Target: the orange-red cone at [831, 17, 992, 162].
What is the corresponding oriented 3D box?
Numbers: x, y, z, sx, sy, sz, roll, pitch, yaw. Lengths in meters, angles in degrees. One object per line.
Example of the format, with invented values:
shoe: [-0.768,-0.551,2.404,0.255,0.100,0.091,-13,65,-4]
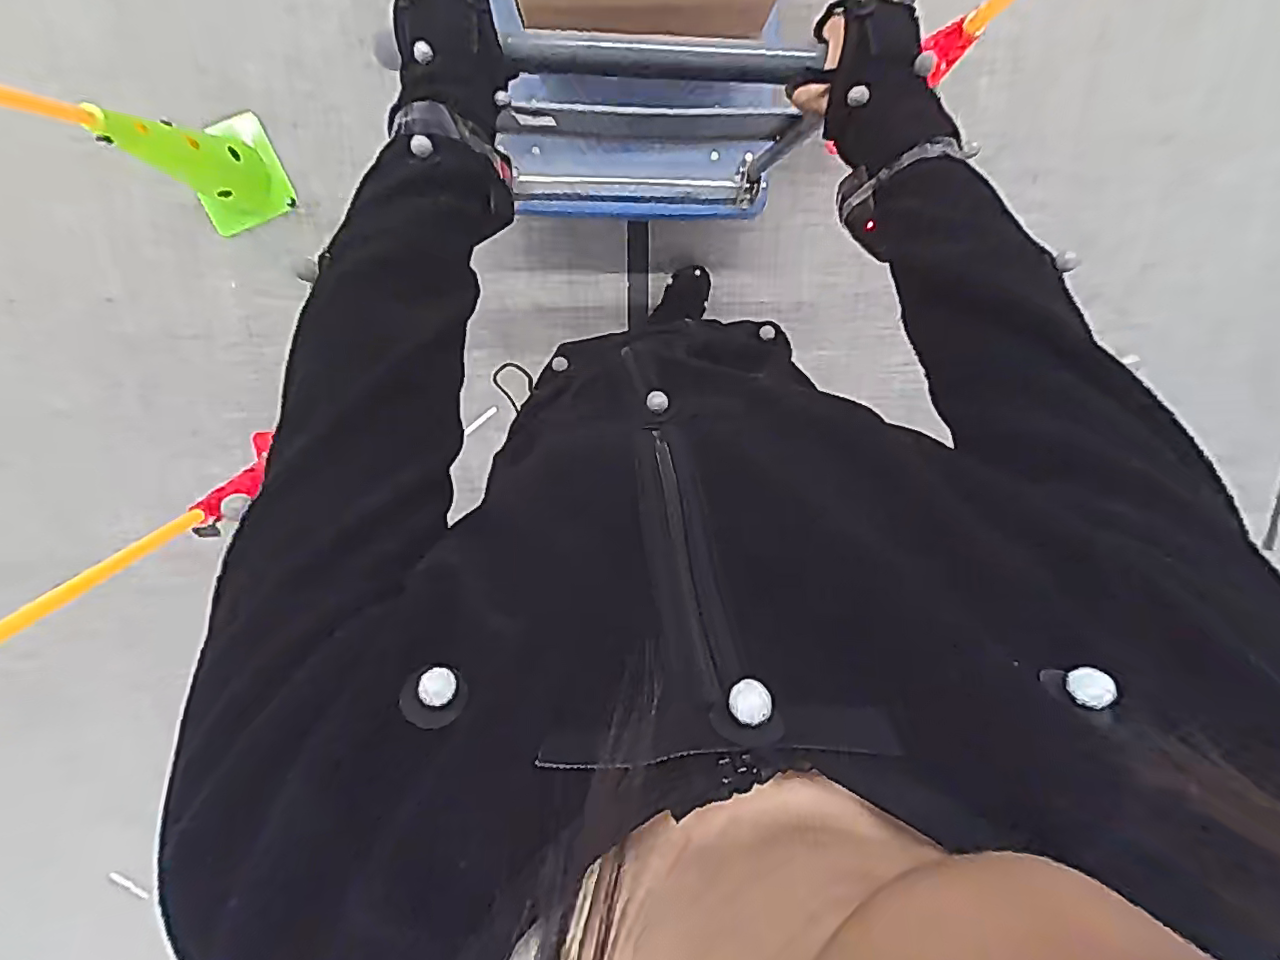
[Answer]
orange-red cone: [0.552,-0.790,1.055,0.199,0.360,0.198,4,106,-5]
